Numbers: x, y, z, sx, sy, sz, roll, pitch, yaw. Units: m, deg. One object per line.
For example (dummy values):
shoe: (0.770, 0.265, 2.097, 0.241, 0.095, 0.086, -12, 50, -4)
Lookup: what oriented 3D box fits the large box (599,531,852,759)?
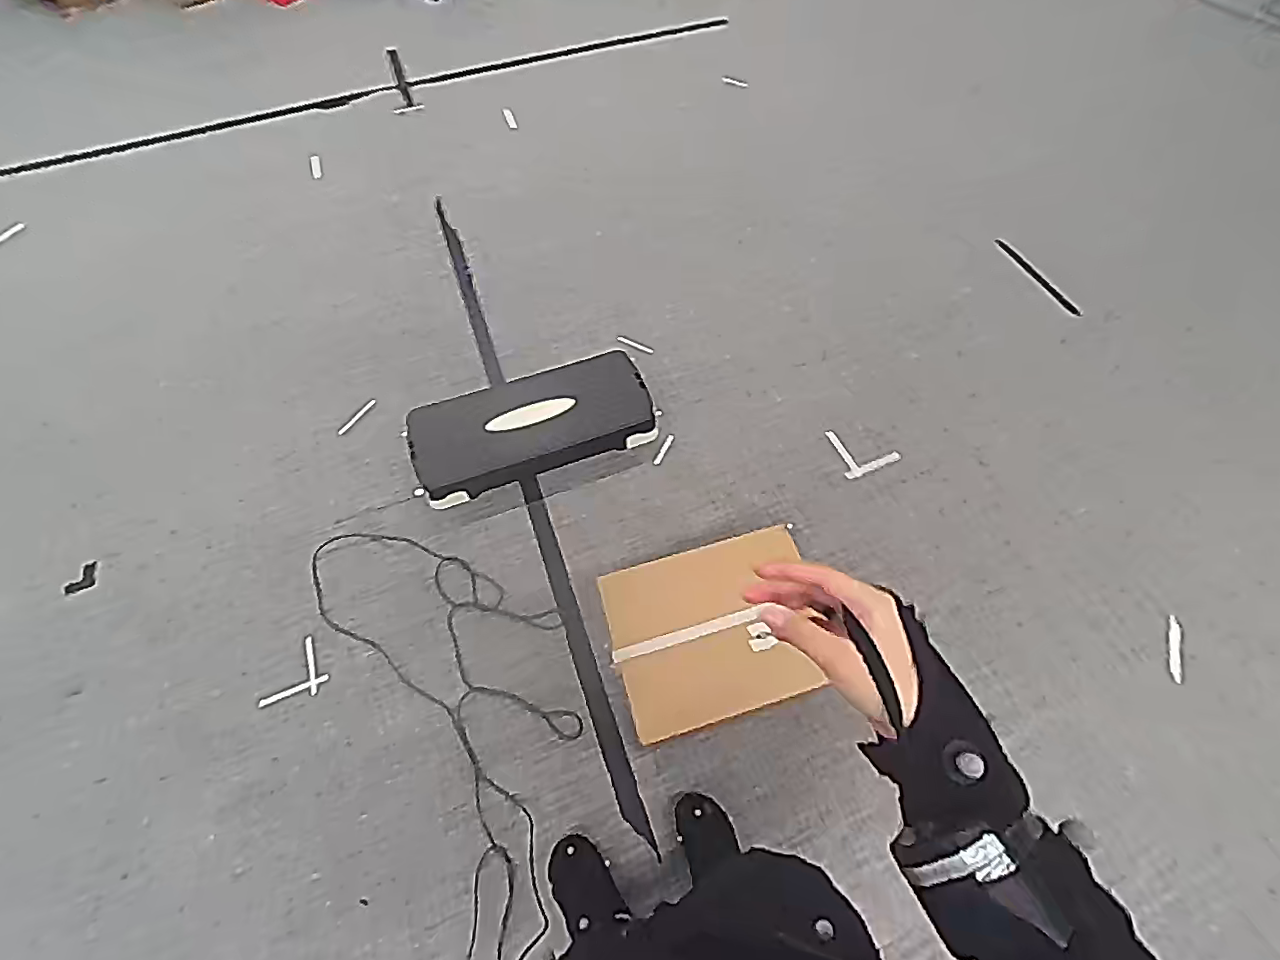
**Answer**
large box: (0.150, 0.355, 1.140, 0.408, 0.320, 0.320, -15, 63, -9)
